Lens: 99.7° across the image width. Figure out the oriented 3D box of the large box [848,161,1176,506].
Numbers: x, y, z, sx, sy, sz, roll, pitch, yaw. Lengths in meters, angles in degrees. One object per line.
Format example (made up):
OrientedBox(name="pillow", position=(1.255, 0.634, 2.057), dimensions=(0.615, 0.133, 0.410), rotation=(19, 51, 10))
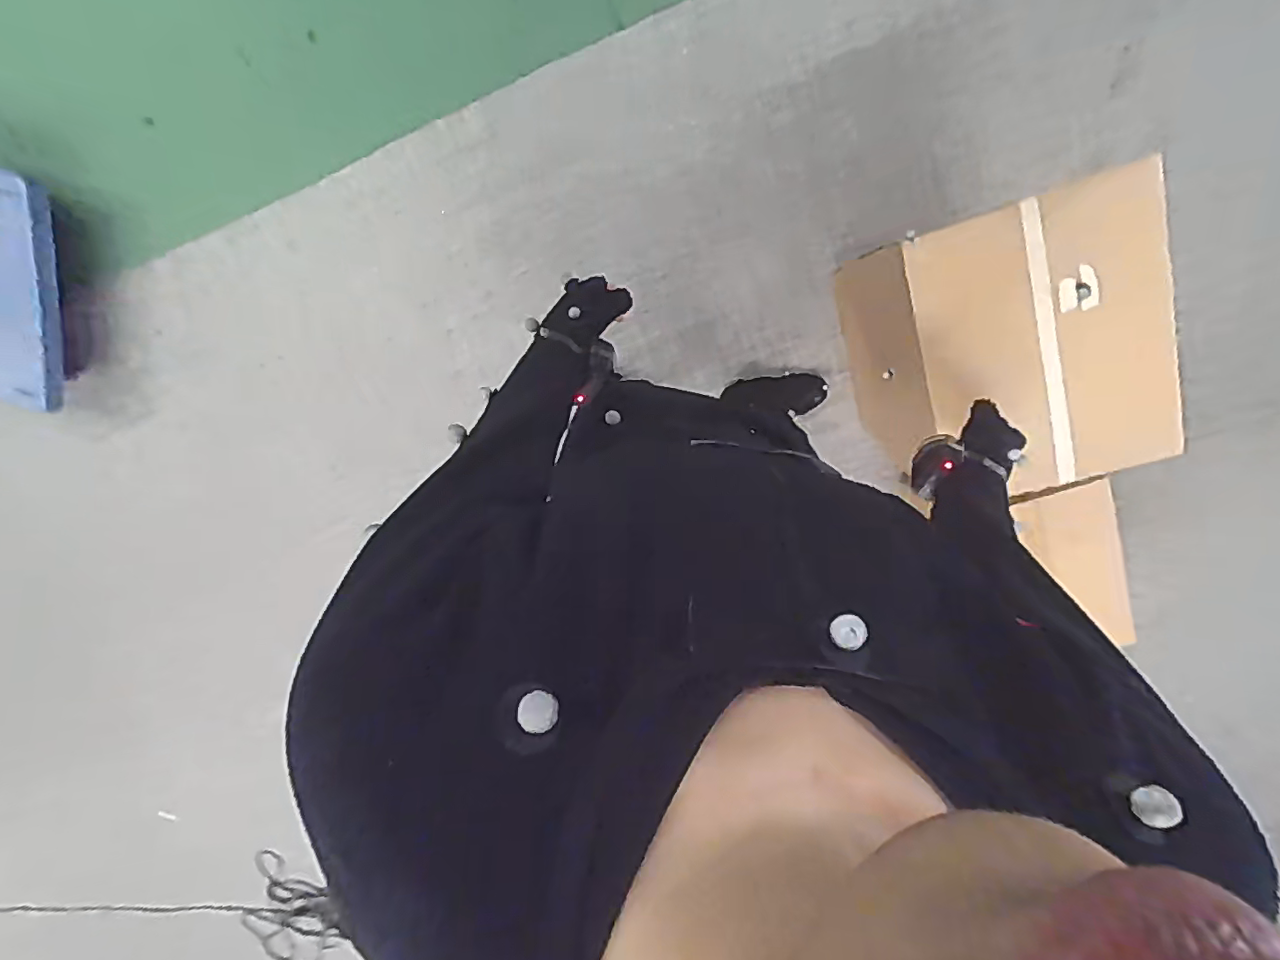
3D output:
OrientedBox(name="large box", position=(0.571, -0.219, 0.893), dimensions=(0.320, 0.320, 0.408), rotation=(-15, 102, 12))
